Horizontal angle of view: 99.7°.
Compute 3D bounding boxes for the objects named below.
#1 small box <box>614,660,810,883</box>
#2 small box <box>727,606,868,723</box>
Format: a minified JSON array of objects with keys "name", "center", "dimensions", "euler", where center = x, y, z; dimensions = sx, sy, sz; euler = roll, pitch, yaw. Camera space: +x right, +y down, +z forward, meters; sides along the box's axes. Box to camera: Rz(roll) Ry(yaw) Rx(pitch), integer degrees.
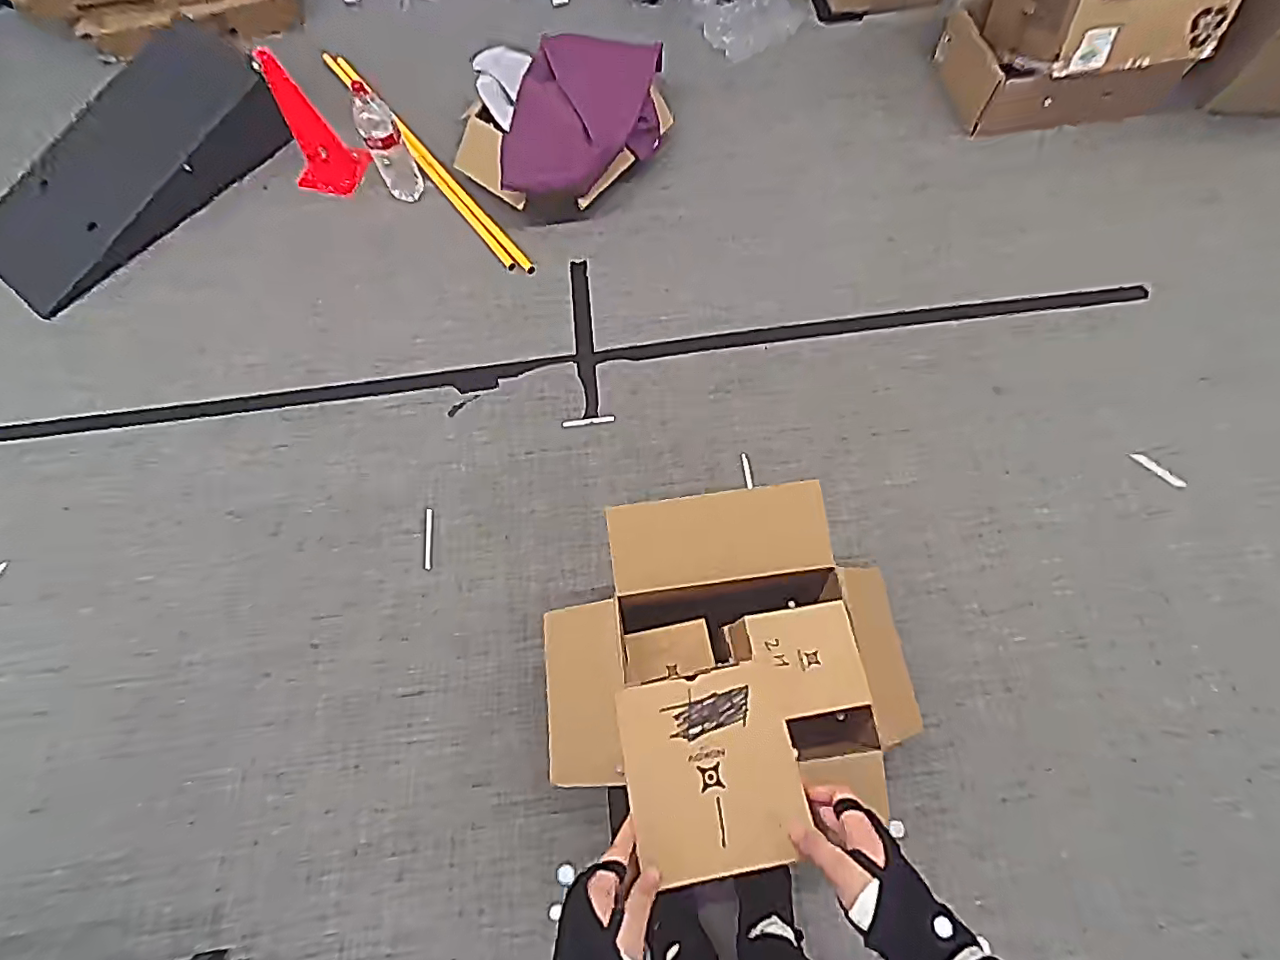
[{"name":"small box","center":[0.069,0.314,0.605],"dimensions":[0.168,0.176,0.179],"euler":[-11,65,0]},{"name":"small box","center":[0.264,0.324,0.951],"dimensions":[0.179,0.176,0.168],"euler":[-9,69,-3]}]
